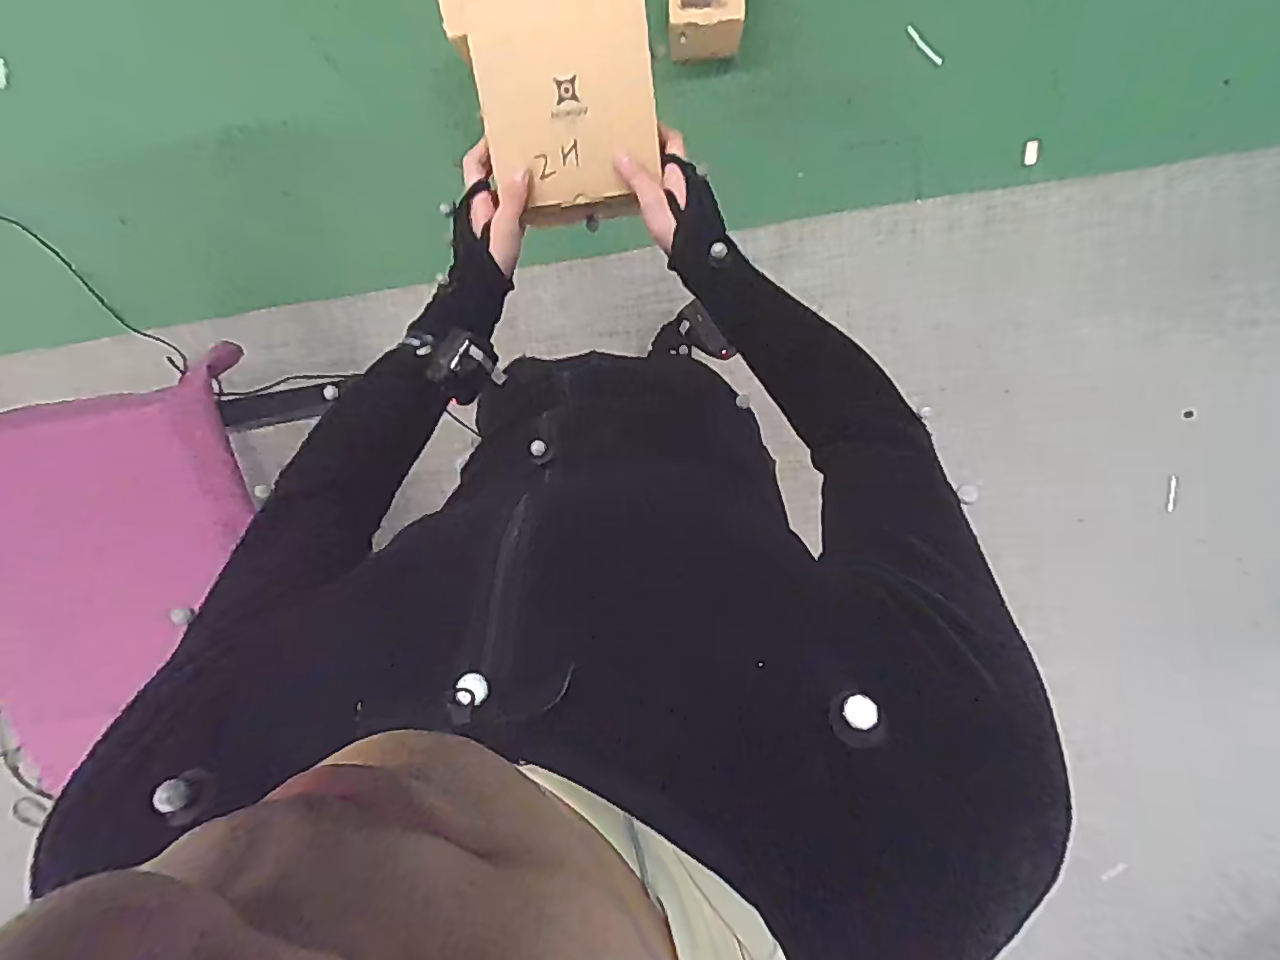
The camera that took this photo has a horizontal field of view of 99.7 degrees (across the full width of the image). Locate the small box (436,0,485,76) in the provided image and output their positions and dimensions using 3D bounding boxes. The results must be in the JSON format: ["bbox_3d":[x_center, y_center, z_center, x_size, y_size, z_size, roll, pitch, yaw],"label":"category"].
[{"bbox_3d":[-0.319,-0.991,1.123,0.168,0.176,0.179,-11,105,6],"label":"small box"}]

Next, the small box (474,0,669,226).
[{"bbox_3d":[-0.061,-0.385,0.584,0.168,0.176,0.179,-6,111,3],"label":"small box"}]
